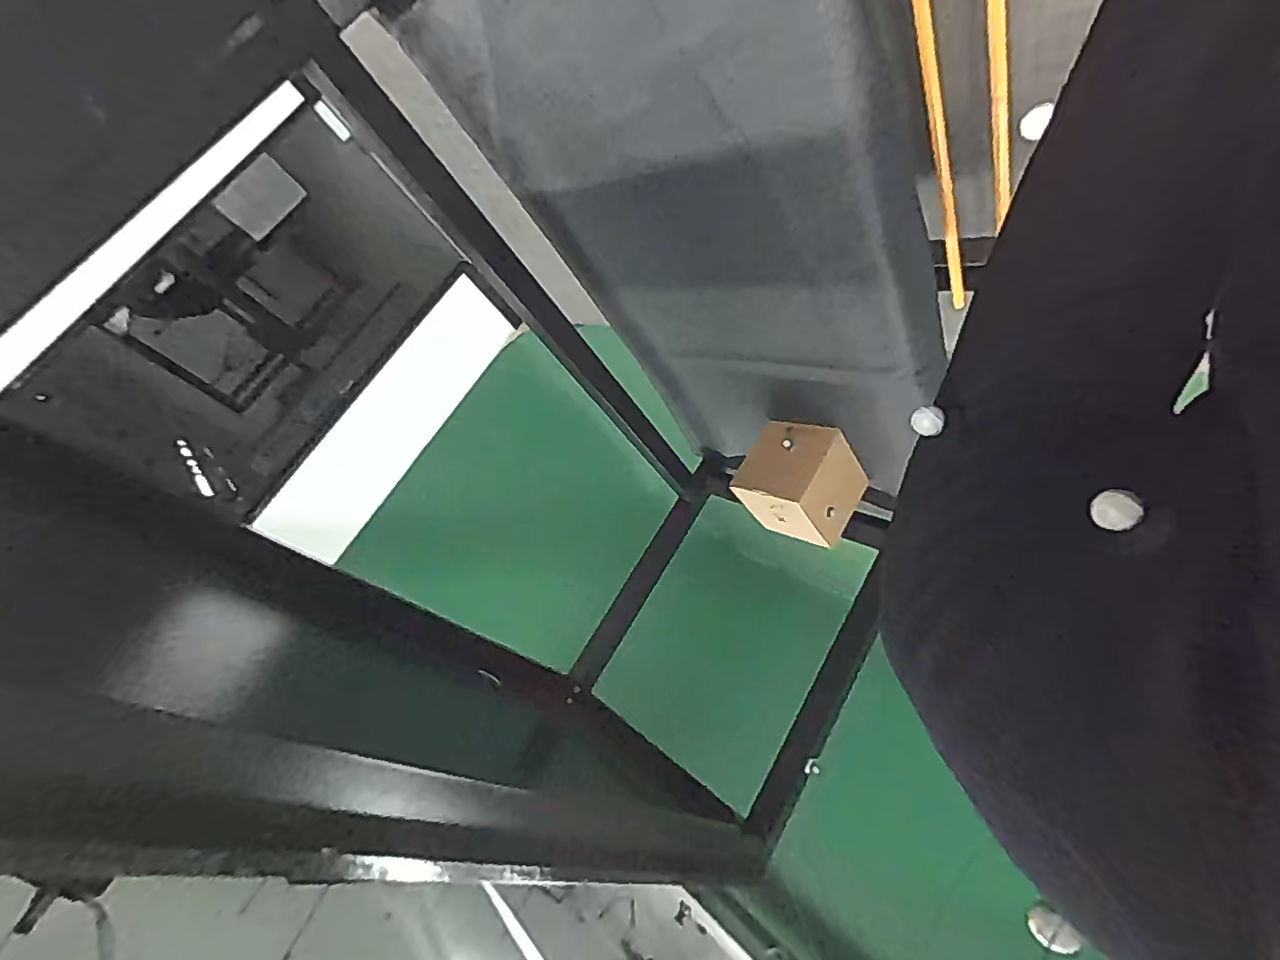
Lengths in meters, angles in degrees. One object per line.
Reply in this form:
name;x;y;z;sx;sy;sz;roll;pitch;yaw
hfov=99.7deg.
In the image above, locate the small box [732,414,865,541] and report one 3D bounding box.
small box;0.323;-0.008;1.082;0.168;0.176;0.179;17;159;49
